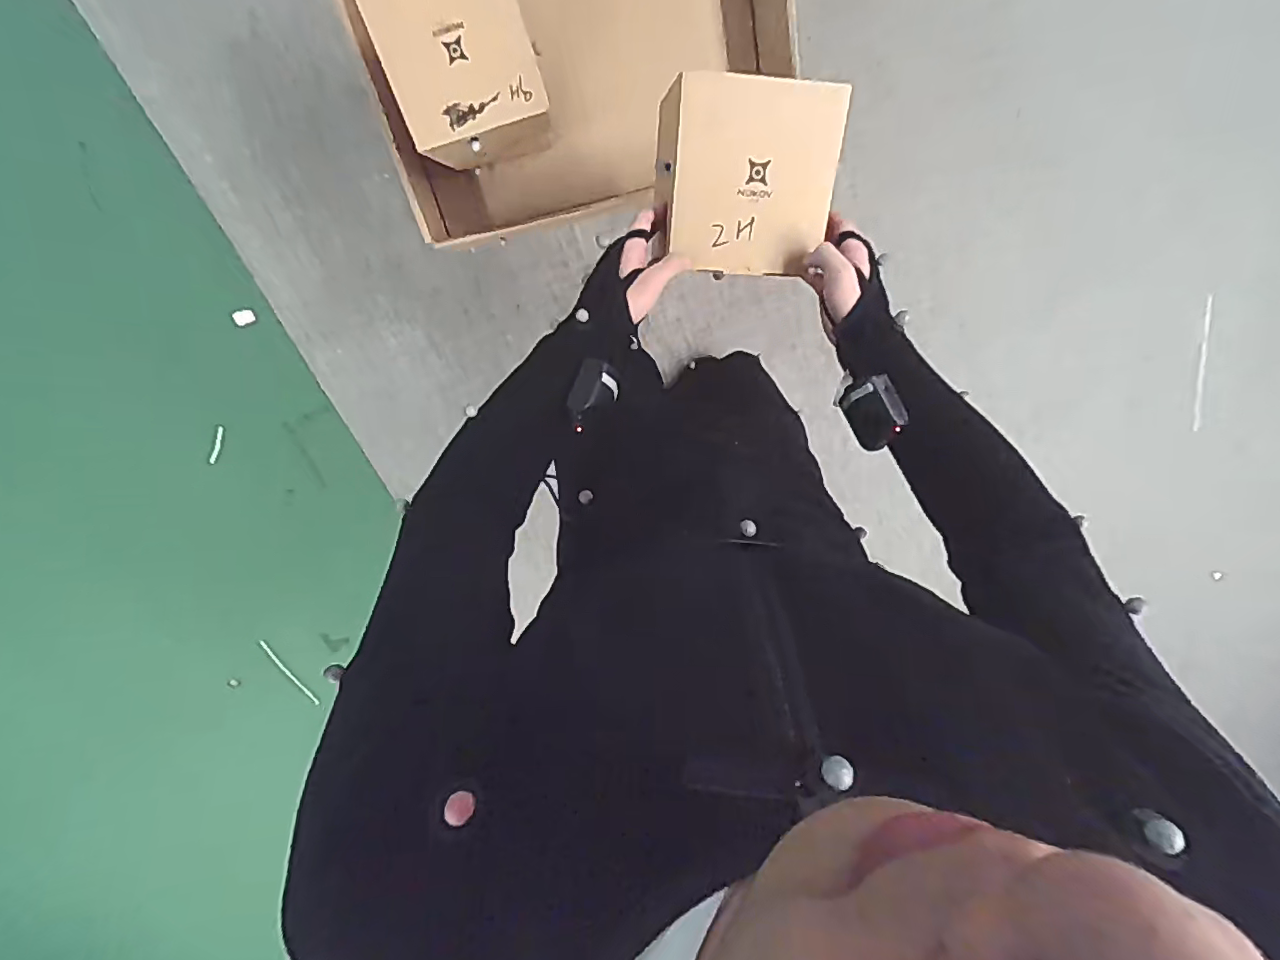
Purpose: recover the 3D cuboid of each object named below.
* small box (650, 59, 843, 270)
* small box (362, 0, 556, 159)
[{"bbox_3d":[0.103,-0.347,0.617,0.168,0.176,0.179,2,118,-5],"label":"small box"},{"bbox_3d":[-0.211,-0.524,0.671,0.168,0.176,0.179,-16,117,4],"label":"small box"}]
